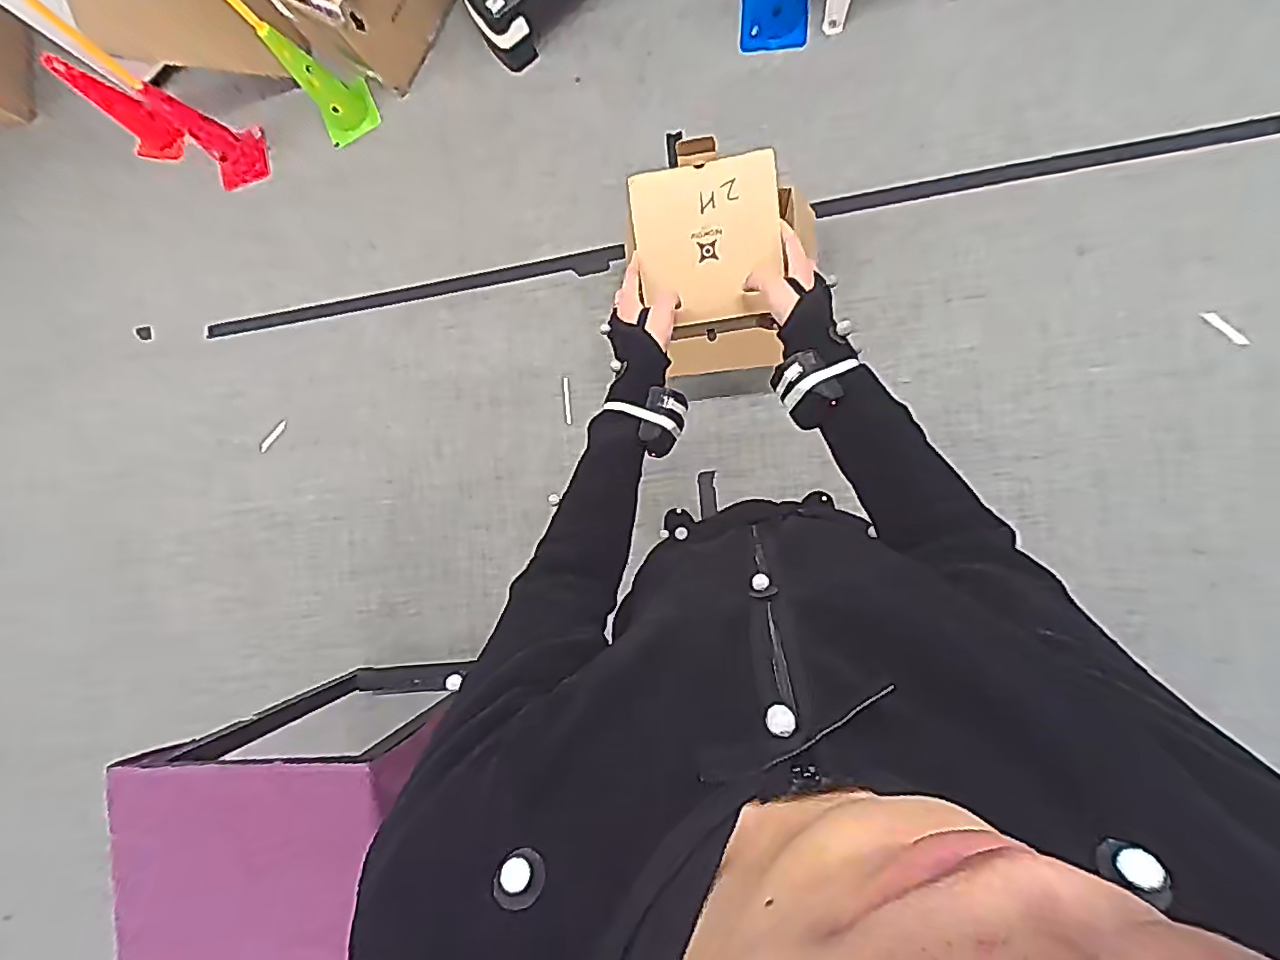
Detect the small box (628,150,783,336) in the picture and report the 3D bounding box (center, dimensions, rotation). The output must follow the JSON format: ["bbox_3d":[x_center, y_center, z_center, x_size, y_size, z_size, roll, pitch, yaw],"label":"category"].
[{"bbox_3d":[0.086,-0.287,0.699,0.168,0.176,0.179,-7,99,8],"label":"small box"}]
